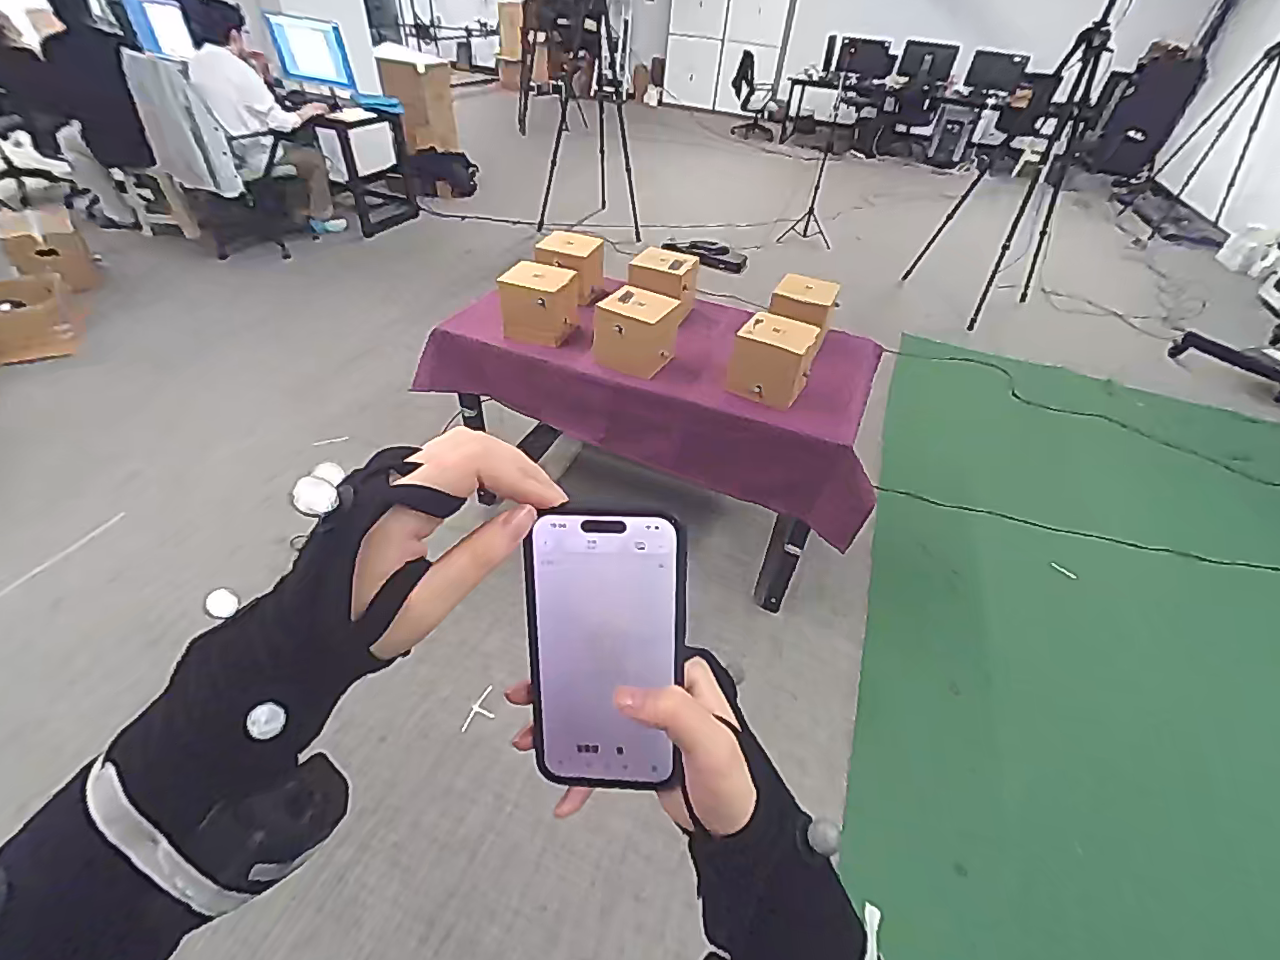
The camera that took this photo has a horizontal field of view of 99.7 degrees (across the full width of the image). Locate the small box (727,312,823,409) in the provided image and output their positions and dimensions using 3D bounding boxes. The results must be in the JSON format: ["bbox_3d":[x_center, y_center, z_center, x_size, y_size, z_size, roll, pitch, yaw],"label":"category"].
[{"bbox_3d":[0.349,-0.309,1.415,0.179,0.176,0.168,24,45,19],"label":"small box"}]

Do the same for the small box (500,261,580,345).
[{"bbox_3d":[-0.285,-0.511,1.567,0.179,0.176,0.168,16,43,9],"label":"small box"}]

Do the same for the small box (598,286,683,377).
[{"bbox_3d":[-0.003,-0.405,1.481,0.179,0.176,0.168,24,45,18],"label":"small box"}]

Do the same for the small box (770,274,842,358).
[{"bbox_3d":[0.487,-0.493,1.629,0.168,0.176,0.179,21,45,17],"label":"small box"}]
